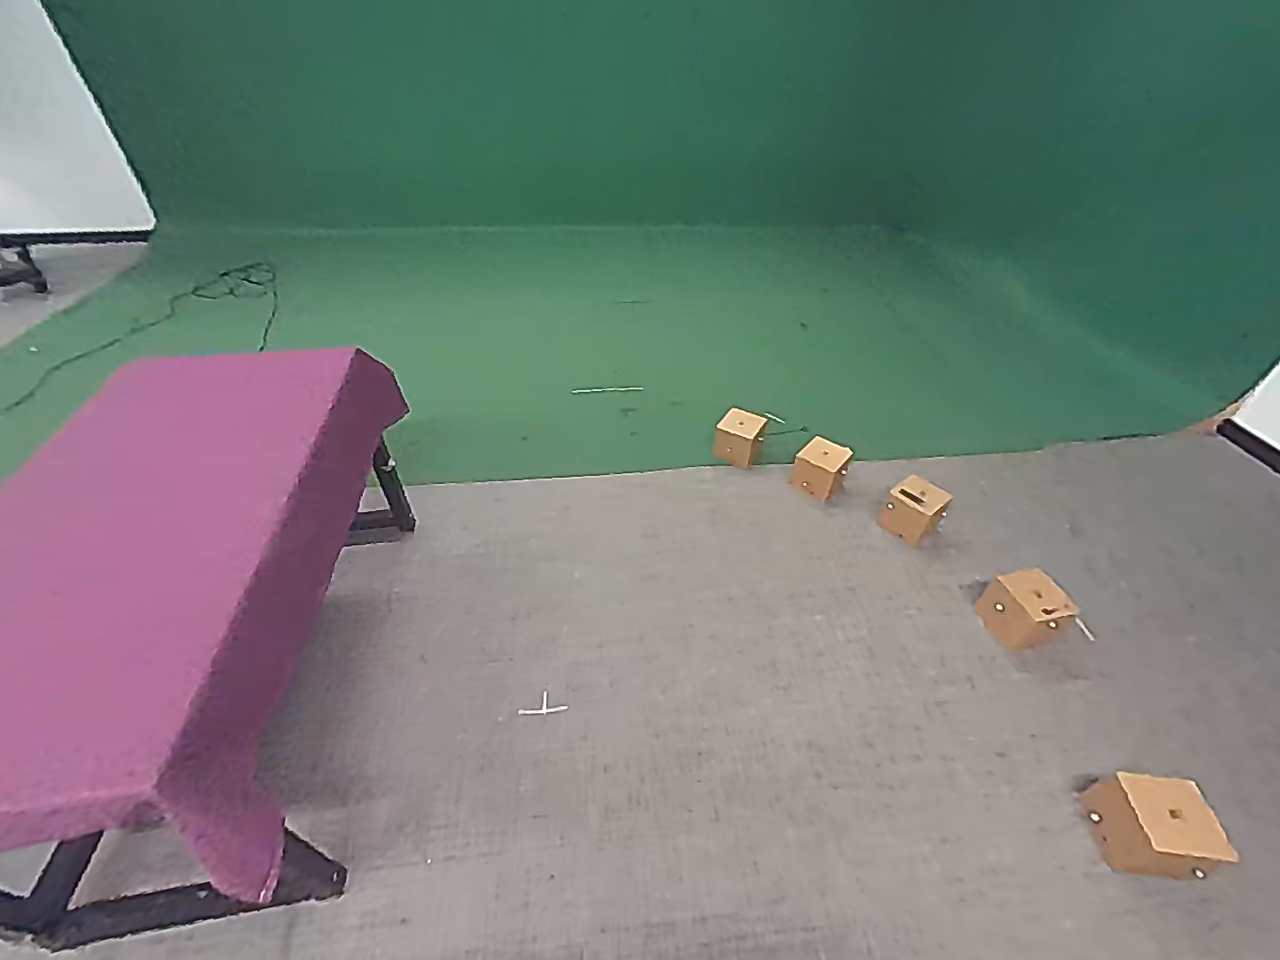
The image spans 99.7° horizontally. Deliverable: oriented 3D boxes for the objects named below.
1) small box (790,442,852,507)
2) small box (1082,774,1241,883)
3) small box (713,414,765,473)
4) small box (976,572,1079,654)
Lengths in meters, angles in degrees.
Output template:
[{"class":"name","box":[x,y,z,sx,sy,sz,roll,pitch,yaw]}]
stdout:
[{"class":"small box","box":[0.735,-0.023,2.216,0.168,0.176,0.179,30,49,29]},{"class":"small box","box":[1.203,0.819,1.266,0.179,0.176,0.168,5,41,5]},{"class":"small box","box":[0.429,-0.157,2.358,0.168,0.176,0.179,23,45,22]},{"class":"small box","box":[1.217,0.423,1.715,0.168,0.176,0.179,-8,41,-10]}]
